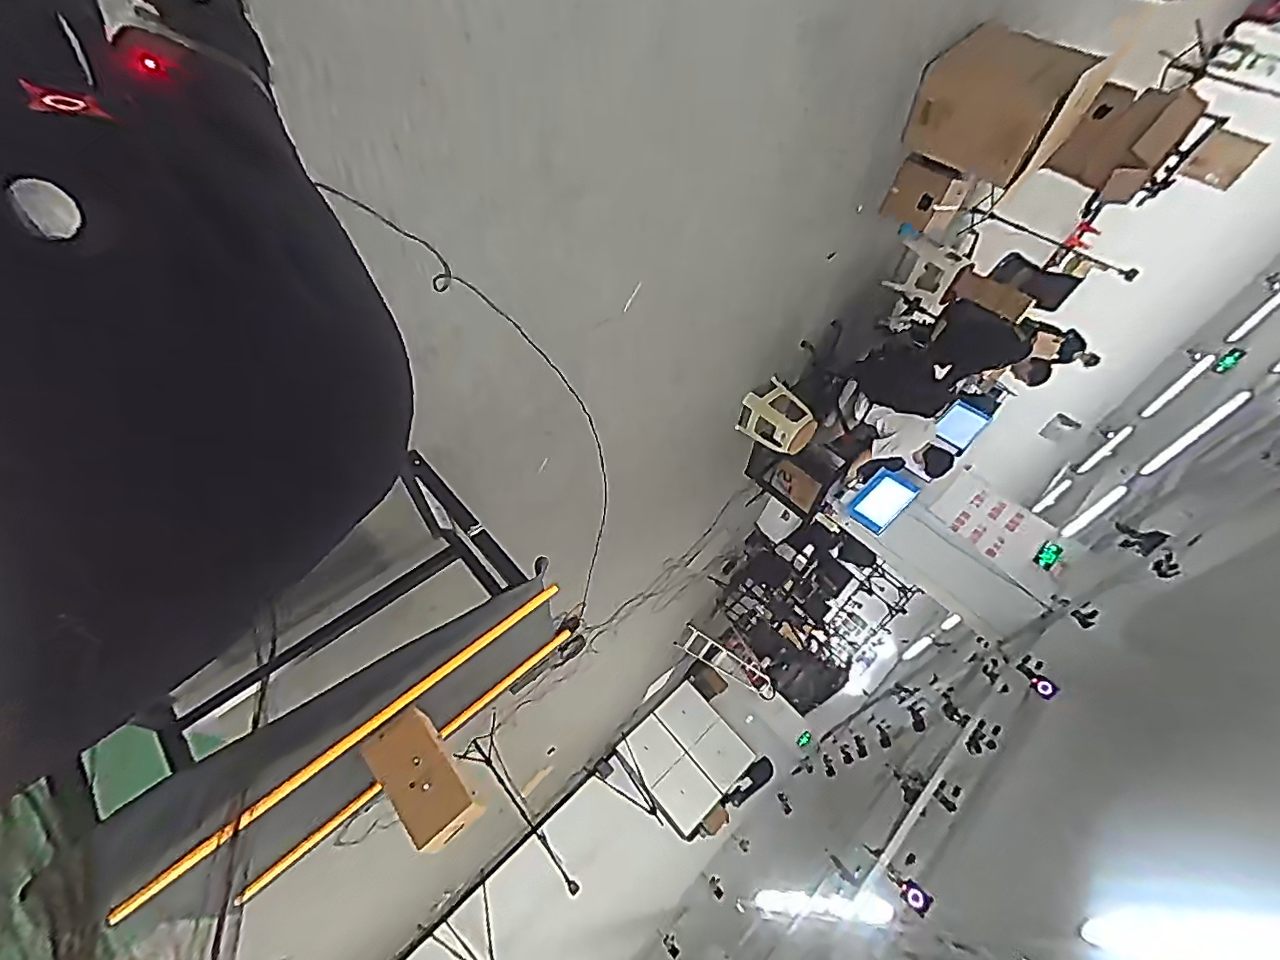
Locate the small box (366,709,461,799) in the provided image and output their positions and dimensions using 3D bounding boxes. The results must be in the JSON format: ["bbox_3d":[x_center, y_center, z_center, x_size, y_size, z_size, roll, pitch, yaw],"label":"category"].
[{"bbox_3d":[-0.651,0.794,1.561,0.168,0.176,0.179,-38,154,-24],"label":"small box"}]

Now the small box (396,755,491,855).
[{"bbox_3d":[-0.540,0.896,1.496,0.168,0.176,0.179,-36,152,-25],"label":"small box"}]
